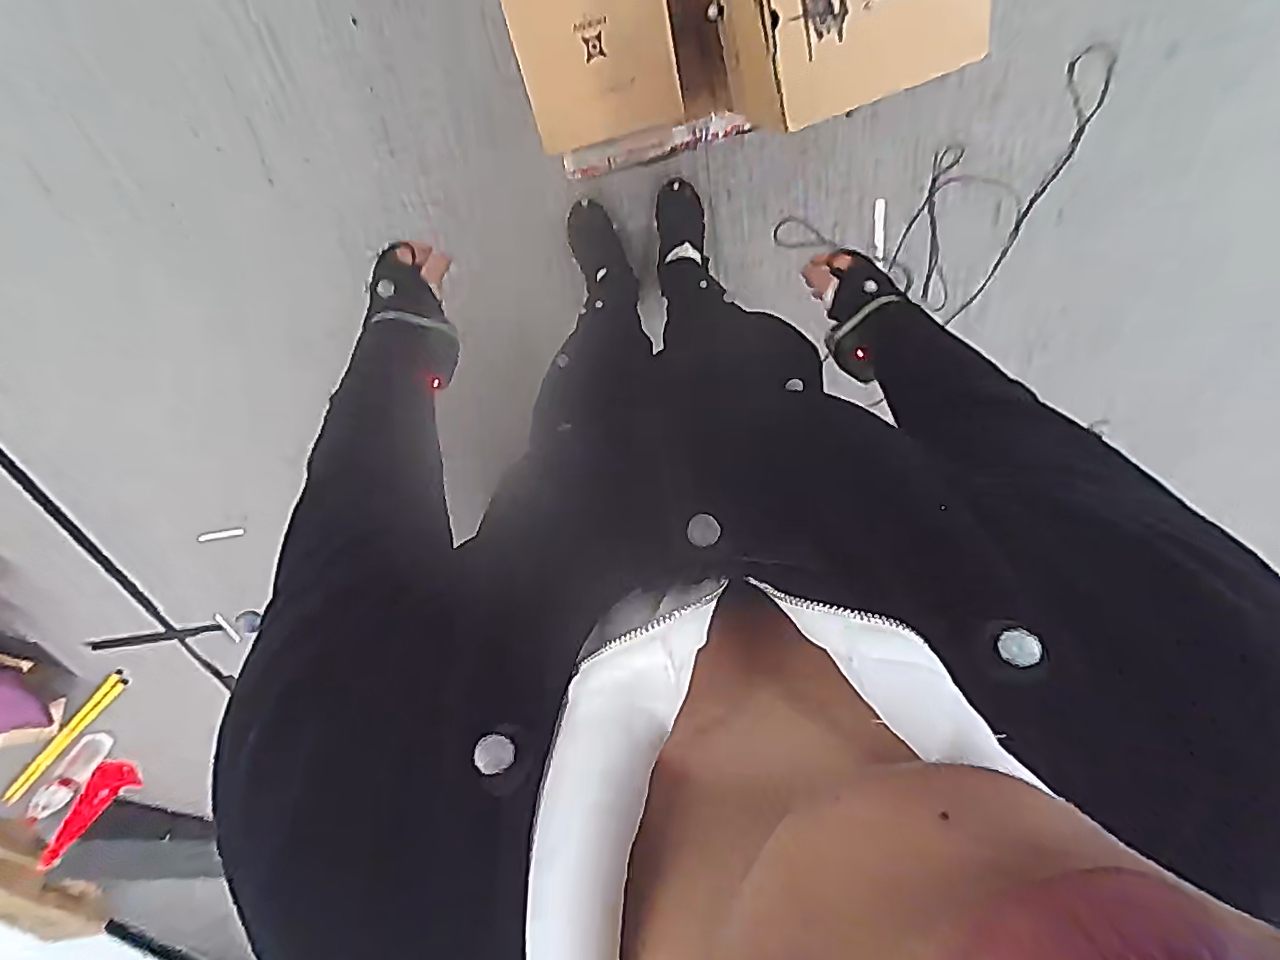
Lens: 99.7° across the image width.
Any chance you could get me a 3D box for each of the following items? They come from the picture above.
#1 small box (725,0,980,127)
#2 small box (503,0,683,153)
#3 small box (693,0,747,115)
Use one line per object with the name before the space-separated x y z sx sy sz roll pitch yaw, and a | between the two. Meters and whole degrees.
small box | 0.178 -0.447 0.494 0.179 0.176 0.168 -17 126 8
small box | -0.052 -0.512 0.636 0.168 0.176 0.179 -12 127 8
small box | 0.167 -0.549 0.623 0.179 0.176 0.168 -17 126 7
